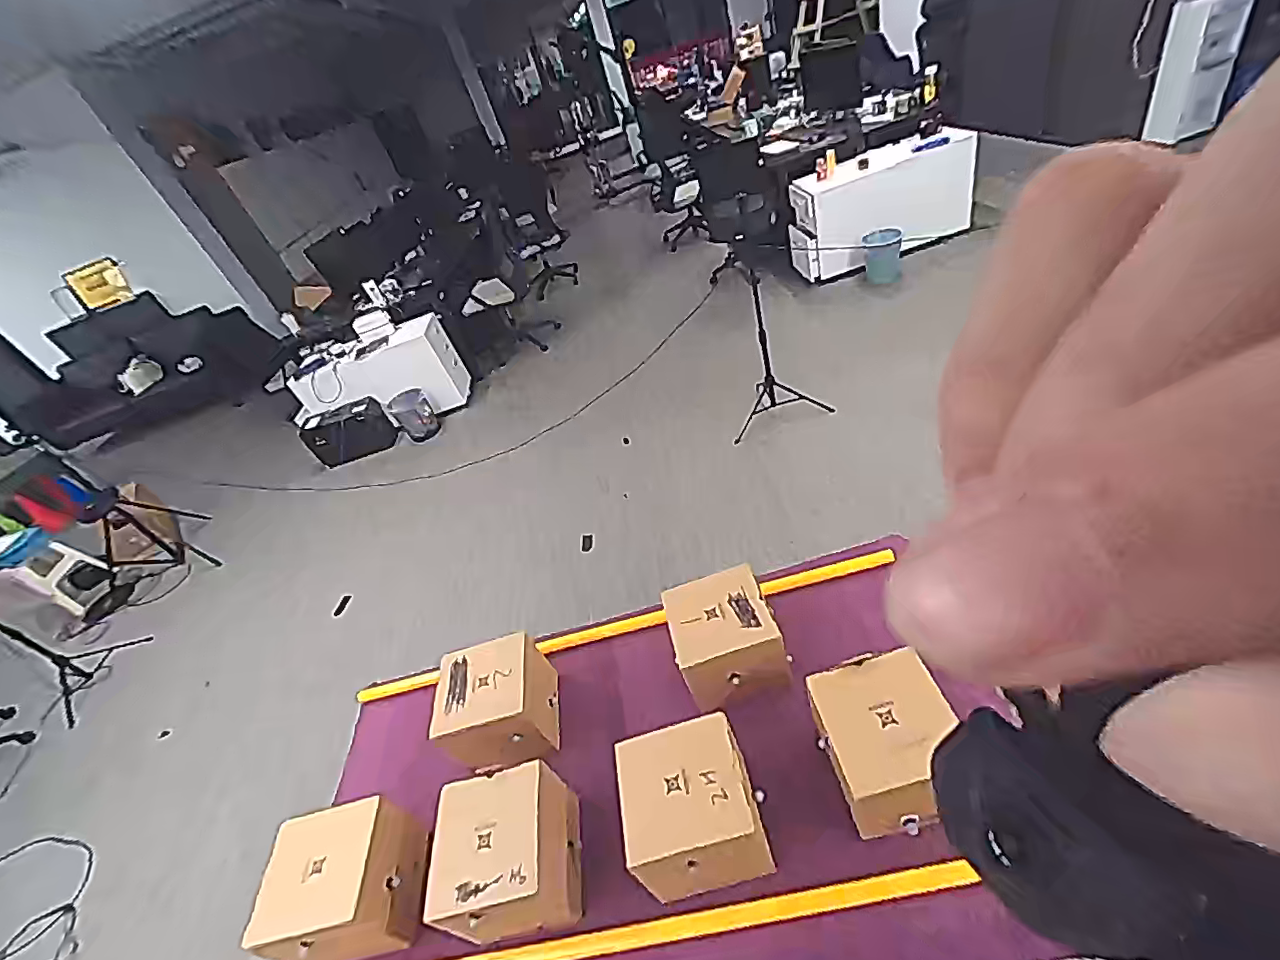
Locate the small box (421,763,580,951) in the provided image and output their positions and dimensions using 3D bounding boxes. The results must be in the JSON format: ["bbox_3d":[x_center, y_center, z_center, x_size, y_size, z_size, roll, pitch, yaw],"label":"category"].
[{"bbox_3d":[-0.196,0.568,0.816,0.168,0.176,0.179,-19,38,6],"label":"small box"}]

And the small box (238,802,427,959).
[{"bbox_3d":[-0.464,0.645,0.855,0.179,0.176,0.168,-18,38,4],"label":"small box"}]

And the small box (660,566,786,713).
[{"bbox_3d":[0.154,0.290,0.978,0.179,0.176,0.168,-20,39,4],"label":"small box"}]

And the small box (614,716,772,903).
[{"bbox_3d":[0.075,0.482,0.788,0.179,0.176,0.168,-19,37,5],"label":"small box"}]

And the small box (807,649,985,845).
[{"bbox_3d":[0.355,0.379,0.772,0.168,0.176,0.179,-20,36,6],"label":"small box"}]
